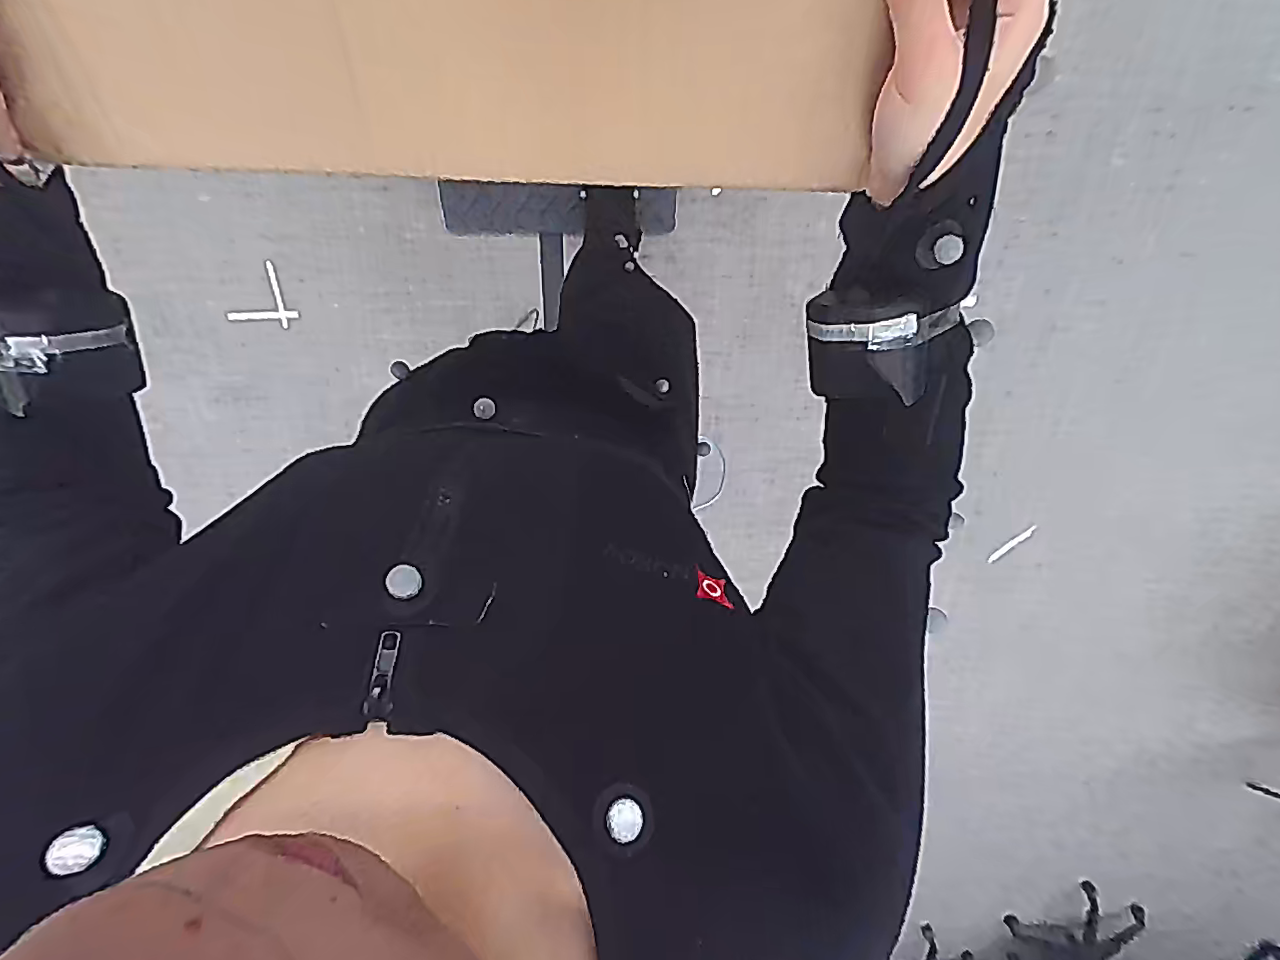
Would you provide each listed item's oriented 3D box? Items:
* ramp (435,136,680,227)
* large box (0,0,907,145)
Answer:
[{"bbox_3d":[-0.155,-0.953,0.878,0.509,0.206,0.991,-3,116,-4],"label":"ramp"},{"bbox_3d":[-0.083,-0.382,0.272,0.408,0.320,0.320,1,134,-2],"label":"large box"}]
